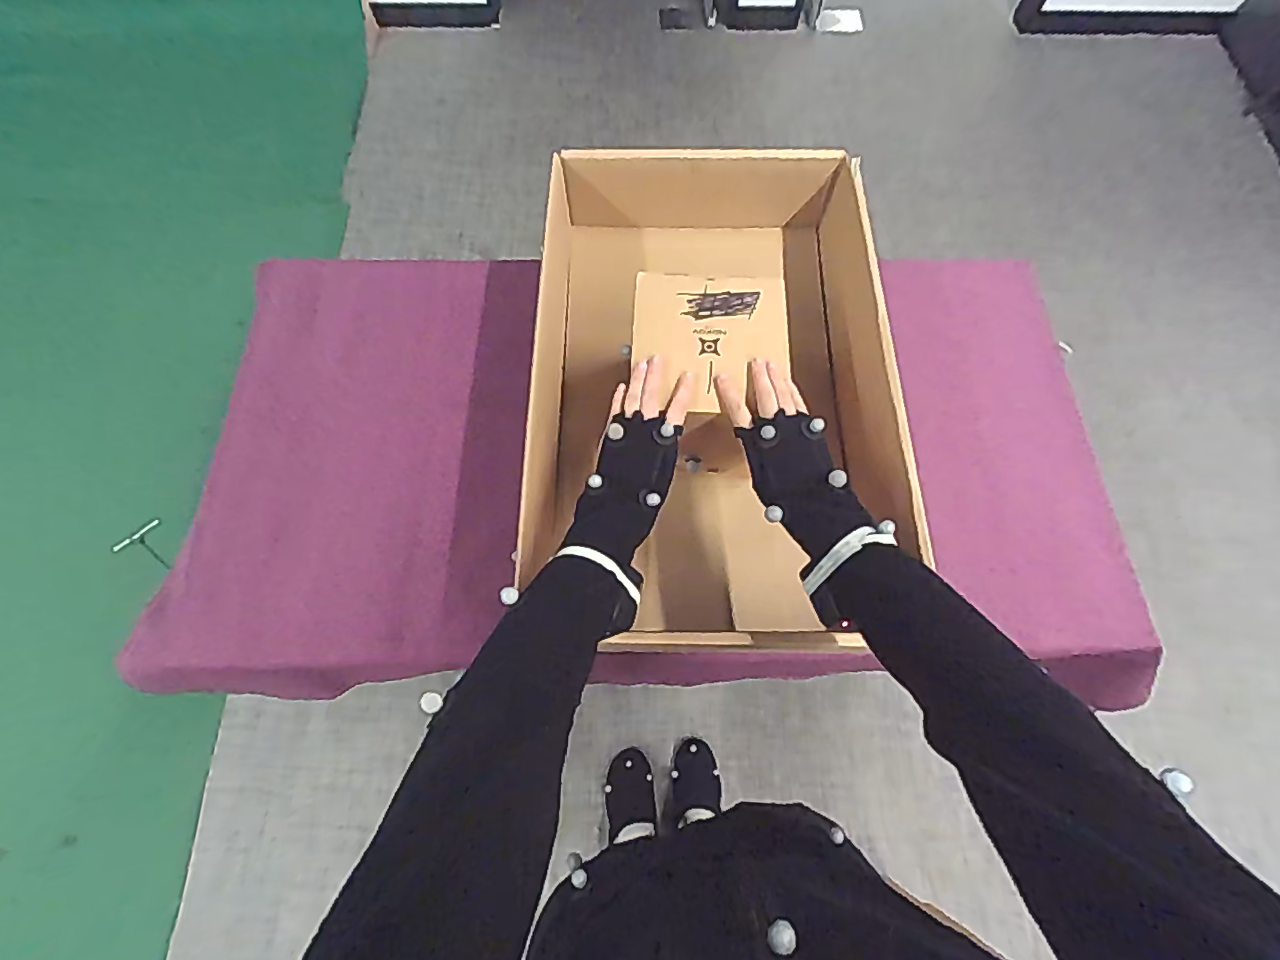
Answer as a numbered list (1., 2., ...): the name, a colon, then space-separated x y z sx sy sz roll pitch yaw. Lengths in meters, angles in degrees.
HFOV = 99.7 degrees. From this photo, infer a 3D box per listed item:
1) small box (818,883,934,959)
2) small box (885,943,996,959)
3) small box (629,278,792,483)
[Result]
1. small box: 0.473 0.941 1.085 0.179 0.176 0.168 -5 69 -3
2. small box: 0.478 0.809 0.783 0.168 0.176 0.179 1 68 0
3. small box: 0.074 -0.111 0.642 0.168 0.176 0.179 2 69 1
